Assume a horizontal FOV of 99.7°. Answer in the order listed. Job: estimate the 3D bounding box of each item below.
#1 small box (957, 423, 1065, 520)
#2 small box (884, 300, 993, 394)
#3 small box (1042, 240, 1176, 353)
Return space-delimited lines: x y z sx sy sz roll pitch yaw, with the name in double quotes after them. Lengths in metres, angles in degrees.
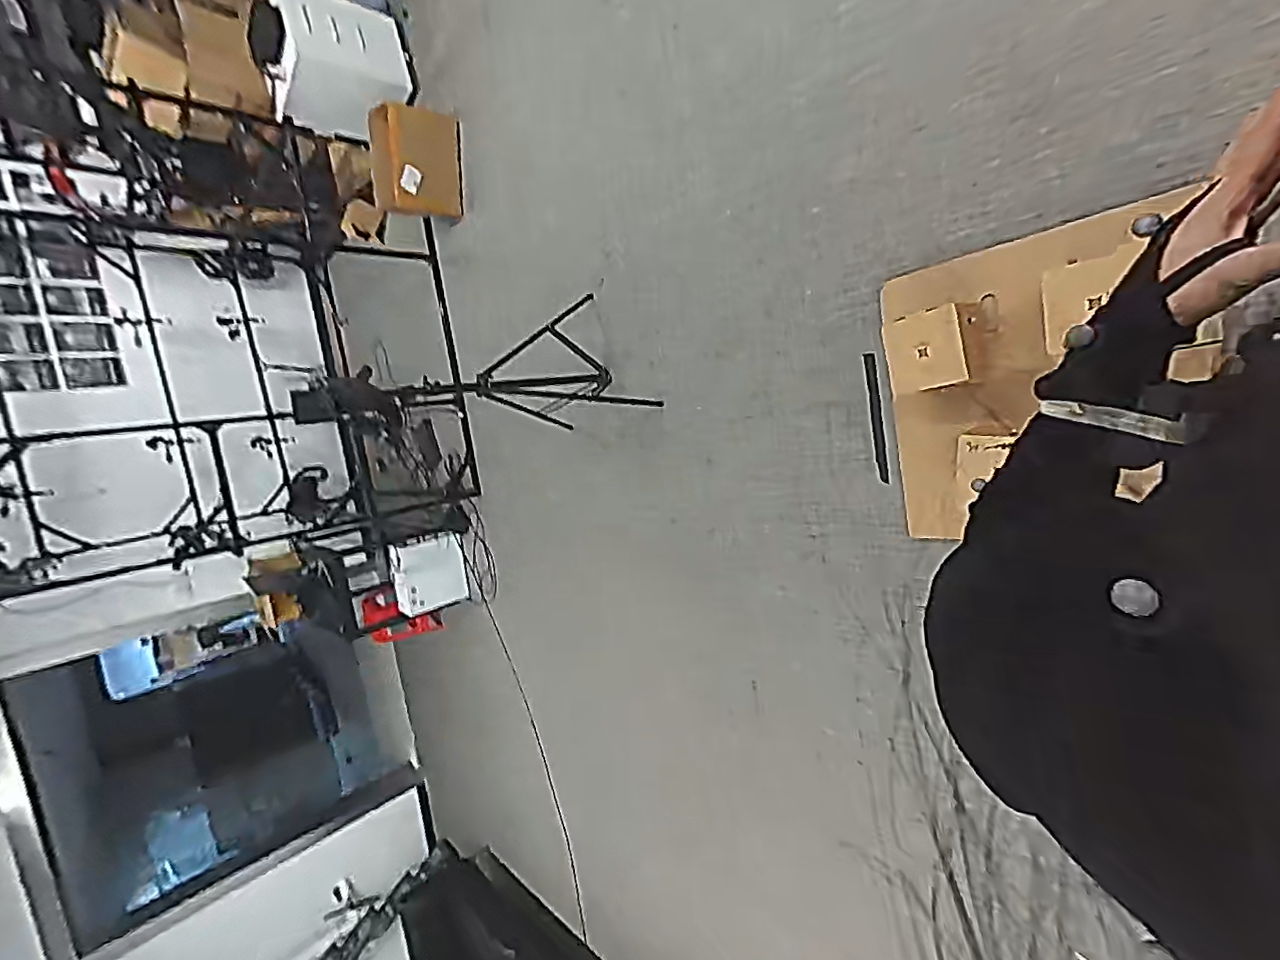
0.833 -0.027 1.215 0.168 0.176 0.179 9 109 45 "small box"
0.706 -0.310 1.277 0.168 0.176 0.179 -10 93 49 "small box"
0.909 -0.345 1.048 0.179 0.176 0.168 -3 99 46 "small box"
